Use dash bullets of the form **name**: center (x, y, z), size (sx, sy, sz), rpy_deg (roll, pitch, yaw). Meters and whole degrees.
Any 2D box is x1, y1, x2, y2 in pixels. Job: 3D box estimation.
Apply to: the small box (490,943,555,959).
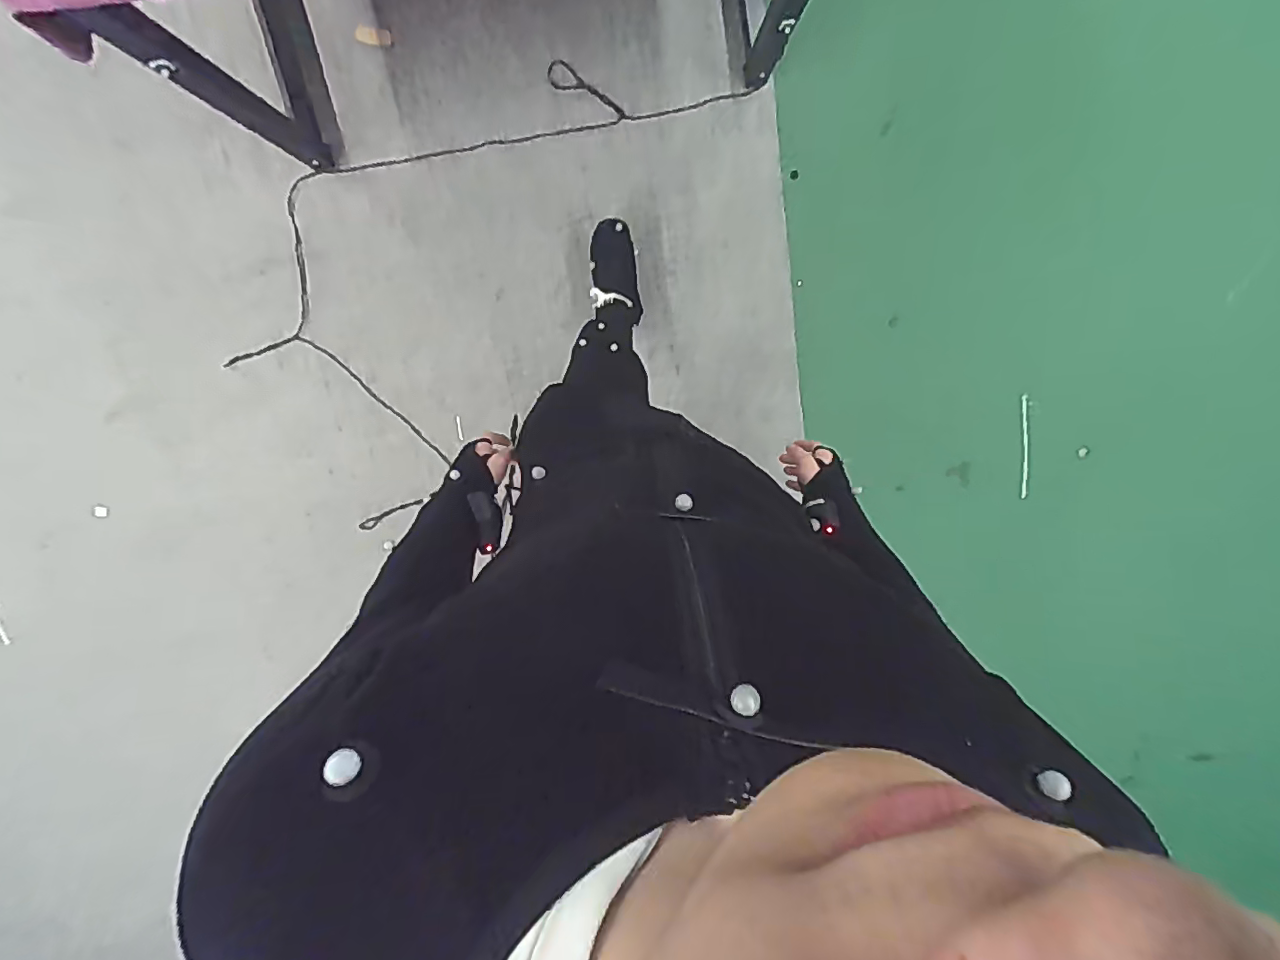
- **small box**: center (-0.300, 1.315, 1.354), size (0.168, 0.176, 0.179), rpy_deg (-3, 101, -1)
